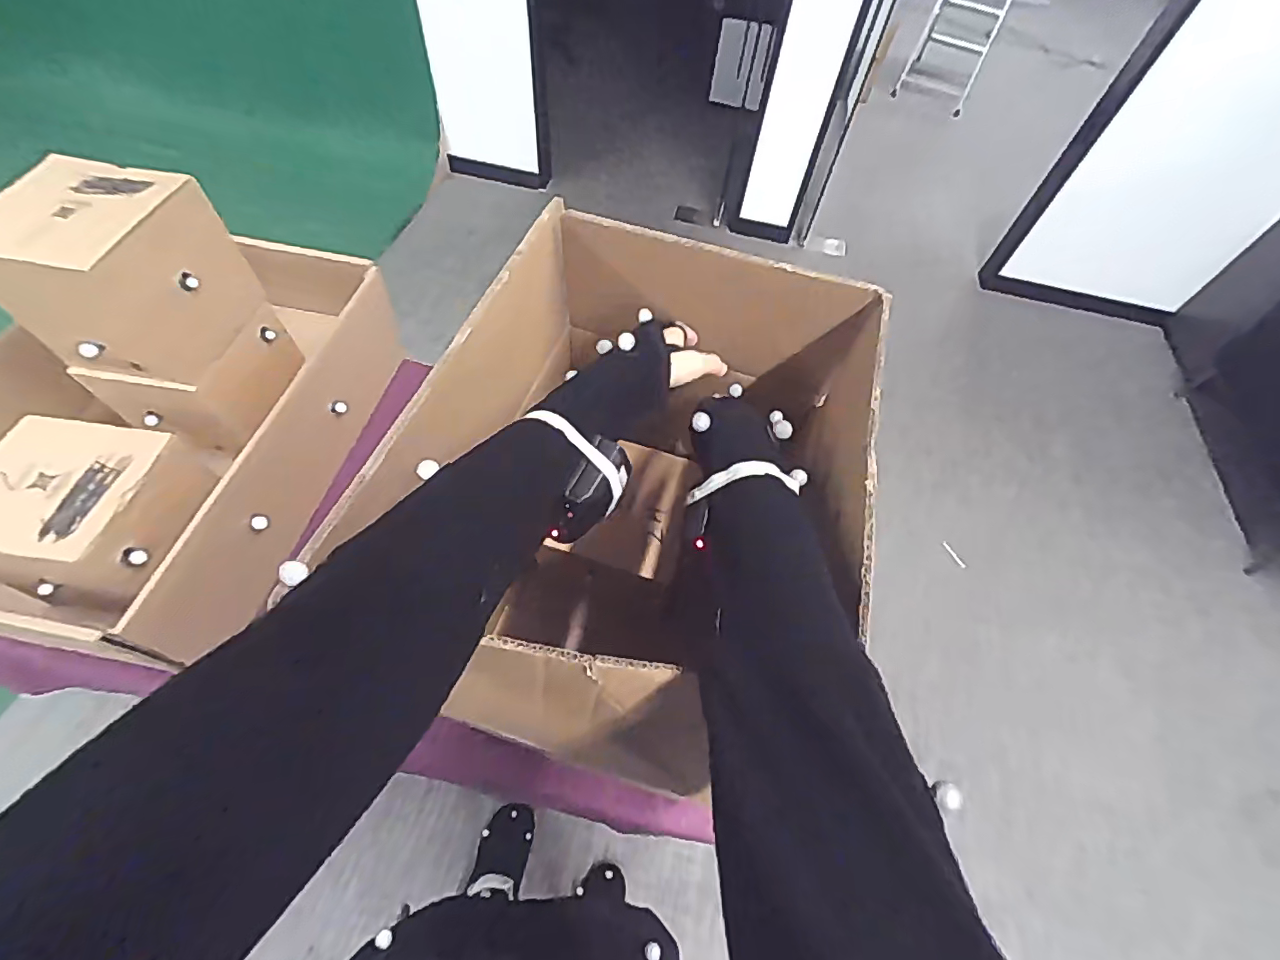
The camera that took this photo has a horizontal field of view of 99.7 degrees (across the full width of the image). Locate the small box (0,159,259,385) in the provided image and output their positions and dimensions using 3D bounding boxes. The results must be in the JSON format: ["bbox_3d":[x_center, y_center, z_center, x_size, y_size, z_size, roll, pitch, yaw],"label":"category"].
[{"bbox_3d":[-0.602,-0.242,0.643,0.168,0.176,0.179,9,59,2],"label":"small box"}]

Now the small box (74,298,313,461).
[{"bbox_3d":[-0.614,-0.148,0.778,0.168,0.176,0.179,9,57,1],"label":"small box"}]
